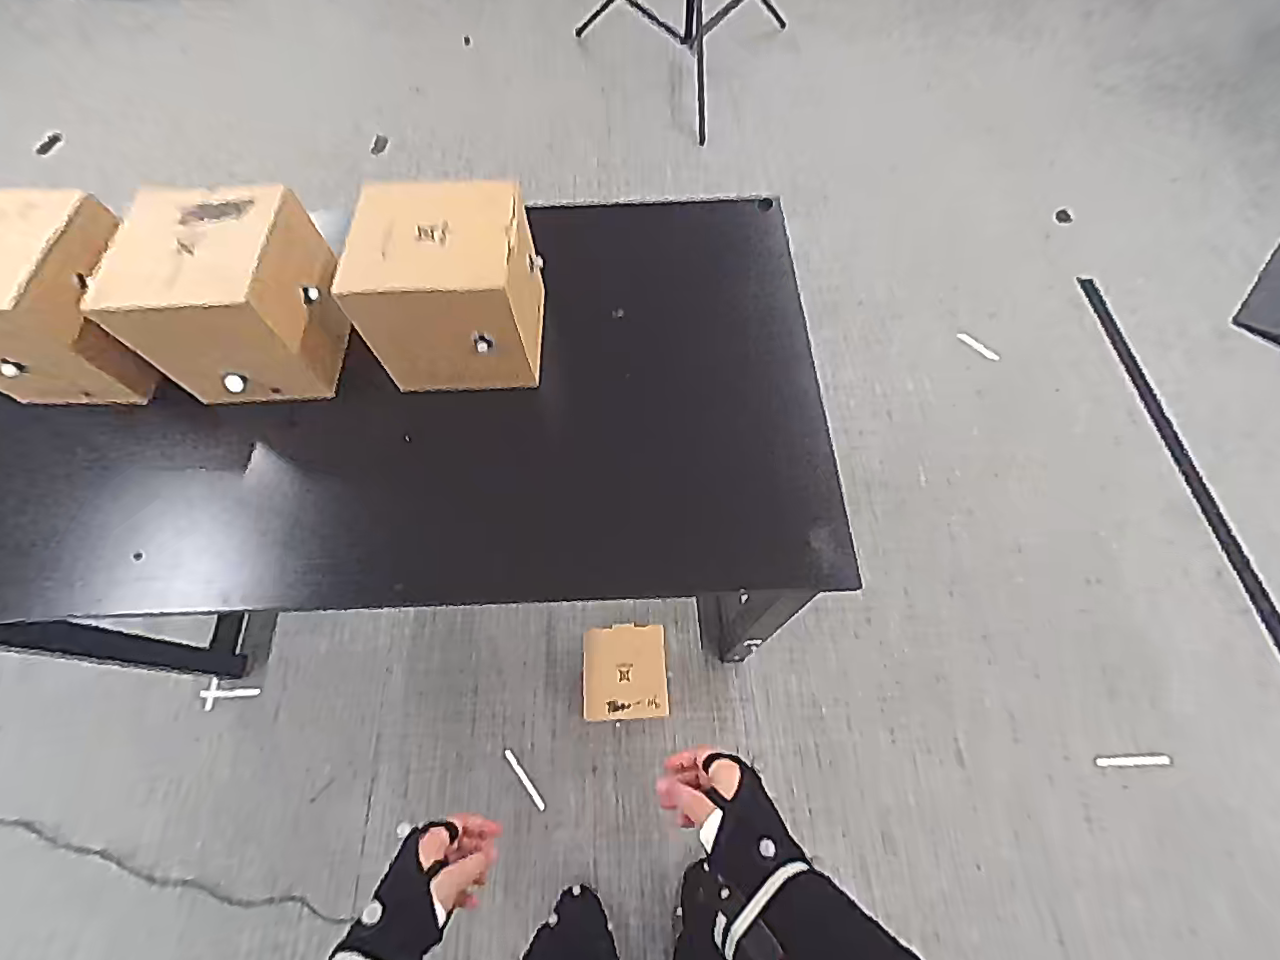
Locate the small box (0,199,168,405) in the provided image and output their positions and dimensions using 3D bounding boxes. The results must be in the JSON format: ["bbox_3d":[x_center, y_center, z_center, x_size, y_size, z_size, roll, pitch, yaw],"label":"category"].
[{"bbox_3d":[-0.693,-0.203,0.646,0.168,0.176,0.179,1,64,0],"label":"small box"}]

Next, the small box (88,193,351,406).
[{"bbox_3d":[-0.469,-0.207,0.643,0.168,0.176,0.179,-3,65,-1],"label":"small box"}]

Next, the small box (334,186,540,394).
[{"bbox_3d":[-0.220,-0.218,0.646,0.179,0.176,0.168,-3,63,1],"label":"small box"}]

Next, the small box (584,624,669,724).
[{"bbox_3d":[-0.029,0.414,1.142,0.168,0.176,0.179,-4,64,0],"label":"small box"}]
